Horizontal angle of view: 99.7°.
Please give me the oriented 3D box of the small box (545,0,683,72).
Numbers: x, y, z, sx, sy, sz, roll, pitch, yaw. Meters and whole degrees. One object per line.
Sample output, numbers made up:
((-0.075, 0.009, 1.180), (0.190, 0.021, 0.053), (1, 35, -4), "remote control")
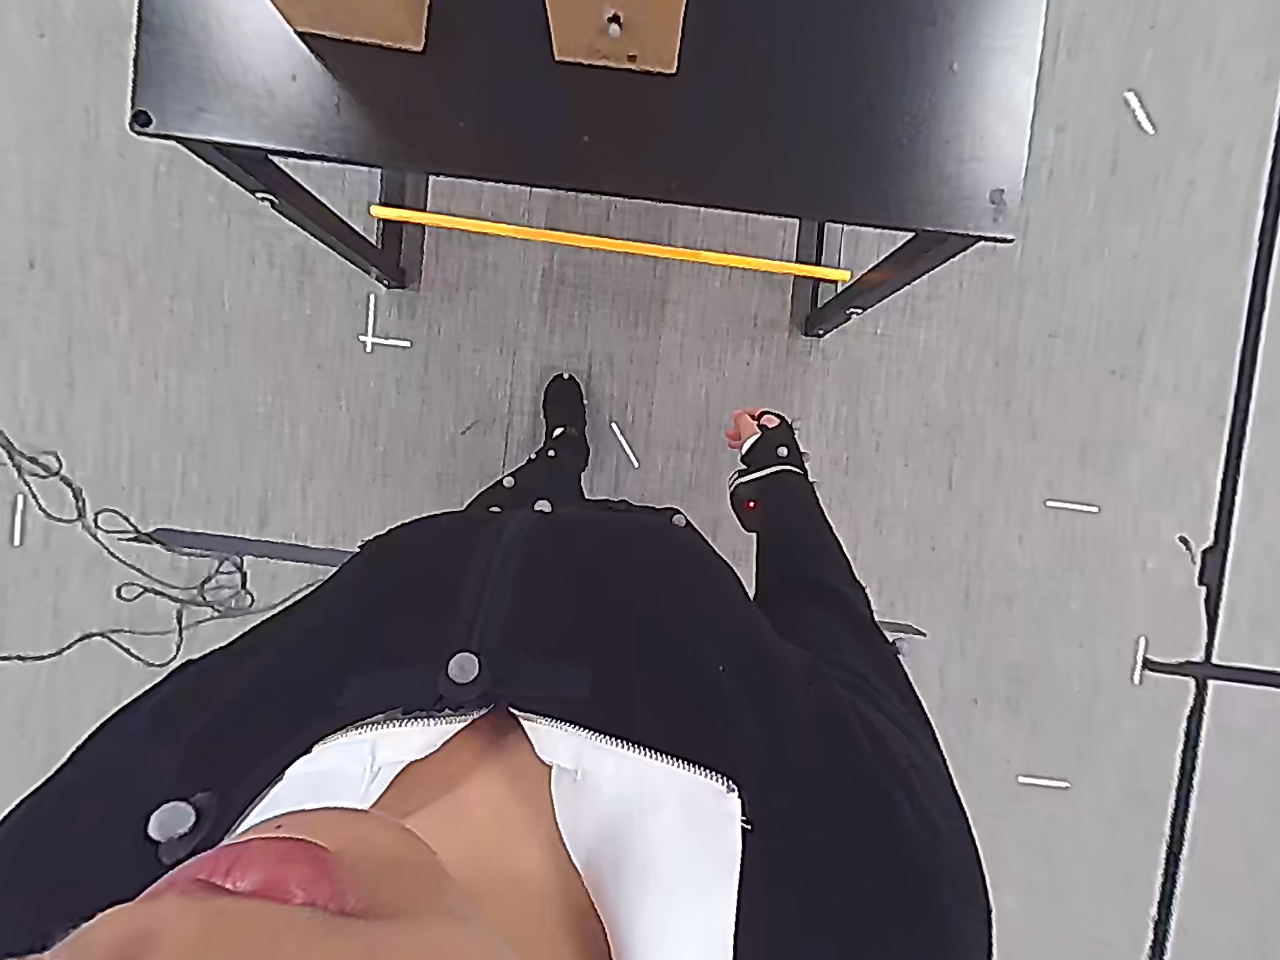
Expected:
((-0.025, -0.639, 0.651), (0.168, 0.176, 0.179), (5, 92, -2), "small box")

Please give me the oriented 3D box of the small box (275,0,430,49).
((-0.362, -0.659, 0.638), (0.179, 0.176, 0.168), (7, 92, -3), "small box")
